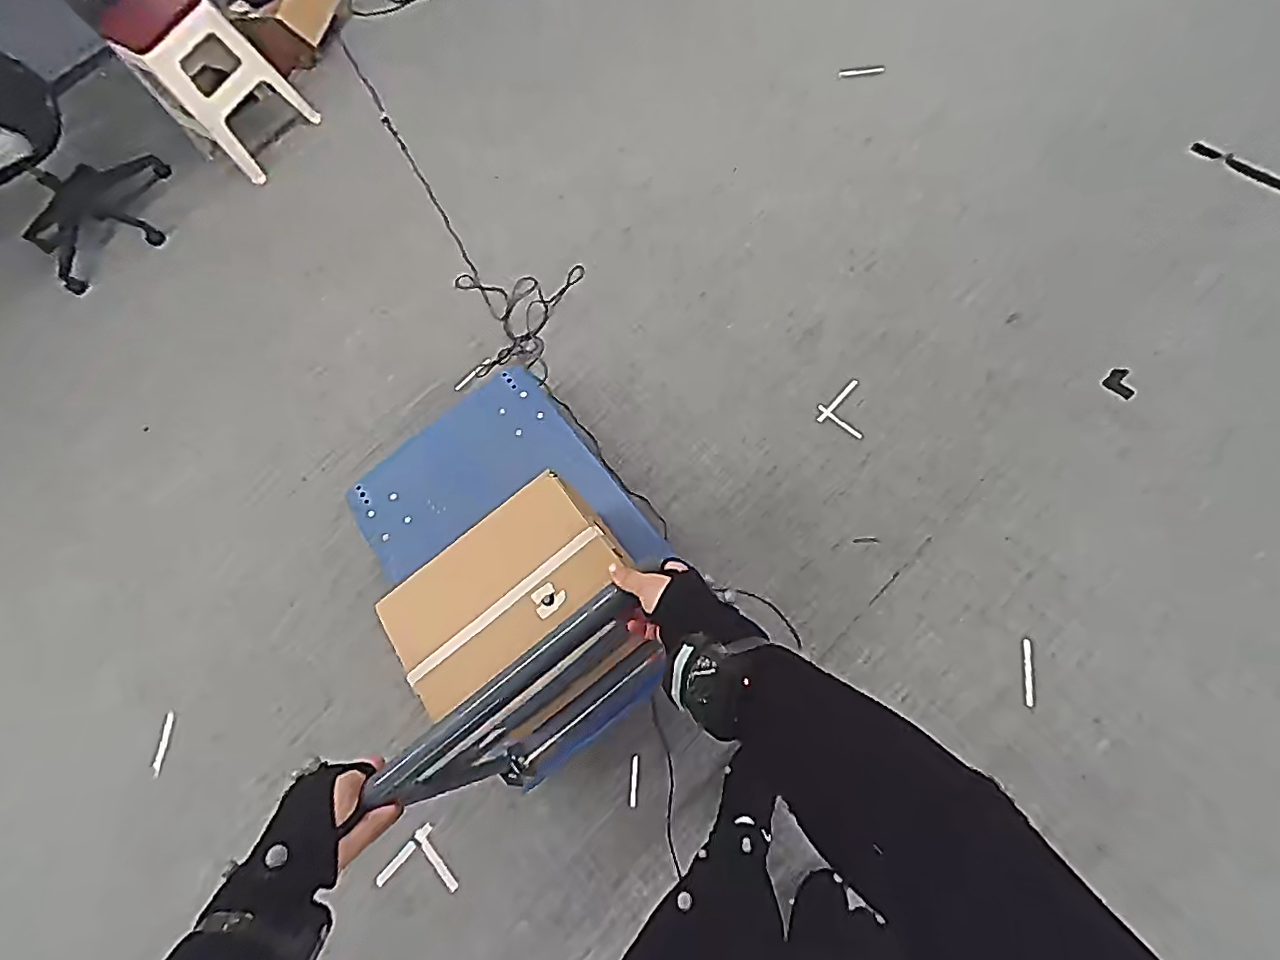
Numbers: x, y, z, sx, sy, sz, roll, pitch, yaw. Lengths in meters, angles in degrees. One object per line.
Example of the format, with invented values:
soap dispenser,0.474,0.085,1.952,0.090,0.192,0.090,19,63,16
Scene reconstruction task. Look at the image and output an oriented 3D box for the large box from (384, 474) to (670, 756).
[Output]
large box,-0.199,0.268,1.077,0.408,0.320,0.320,-39,69,-5
